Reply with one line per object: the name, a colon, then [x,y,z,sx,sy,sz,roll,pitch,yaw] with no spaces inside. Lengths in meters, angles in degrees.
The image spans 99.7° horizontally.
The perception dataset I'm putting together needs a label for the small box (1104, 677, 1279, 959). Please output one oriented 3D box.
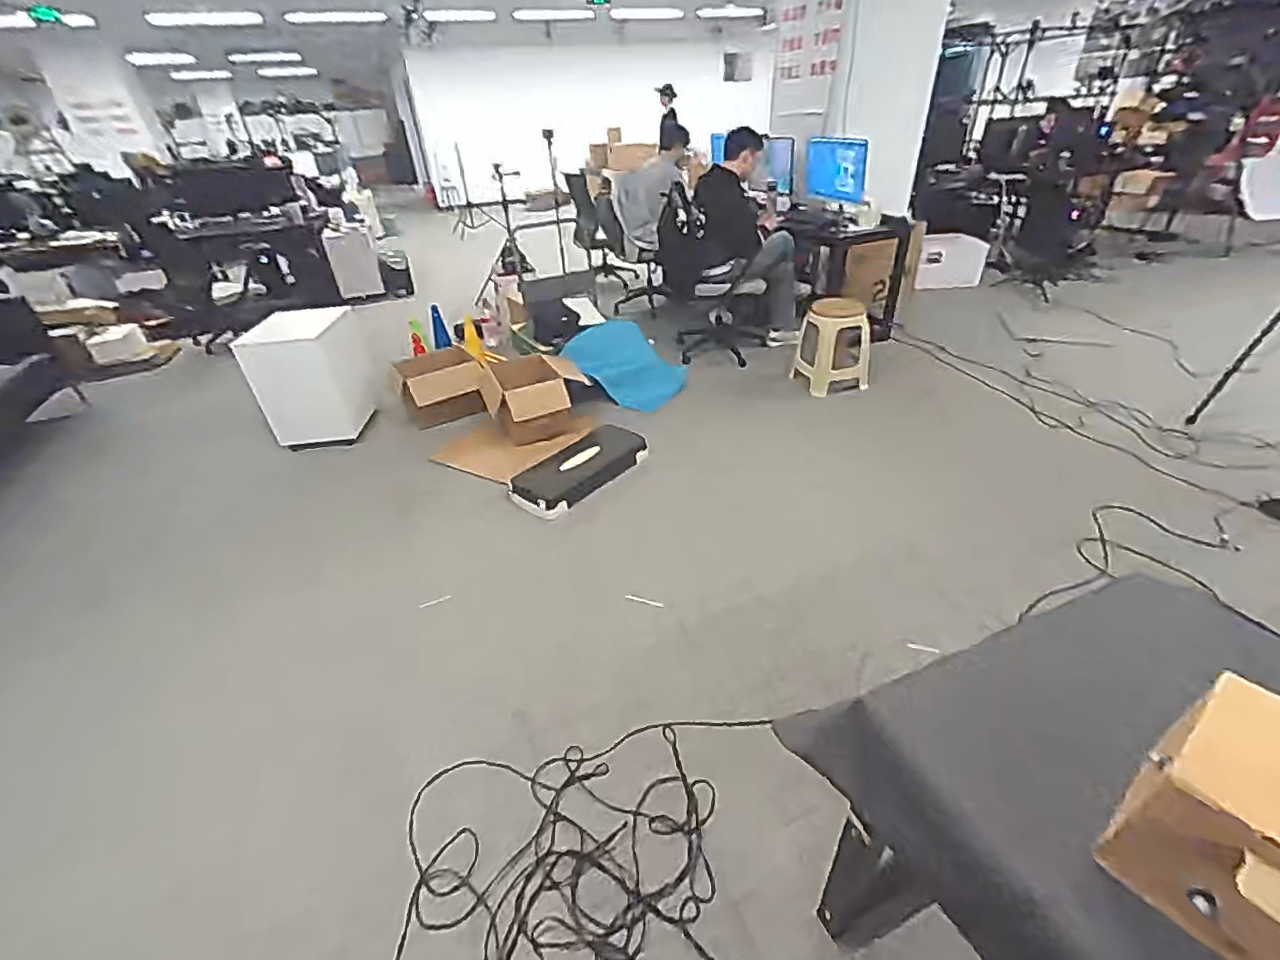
small box: [0.585,0.331,0.503,0.179,0.176,0.168,-25,40,-28]
